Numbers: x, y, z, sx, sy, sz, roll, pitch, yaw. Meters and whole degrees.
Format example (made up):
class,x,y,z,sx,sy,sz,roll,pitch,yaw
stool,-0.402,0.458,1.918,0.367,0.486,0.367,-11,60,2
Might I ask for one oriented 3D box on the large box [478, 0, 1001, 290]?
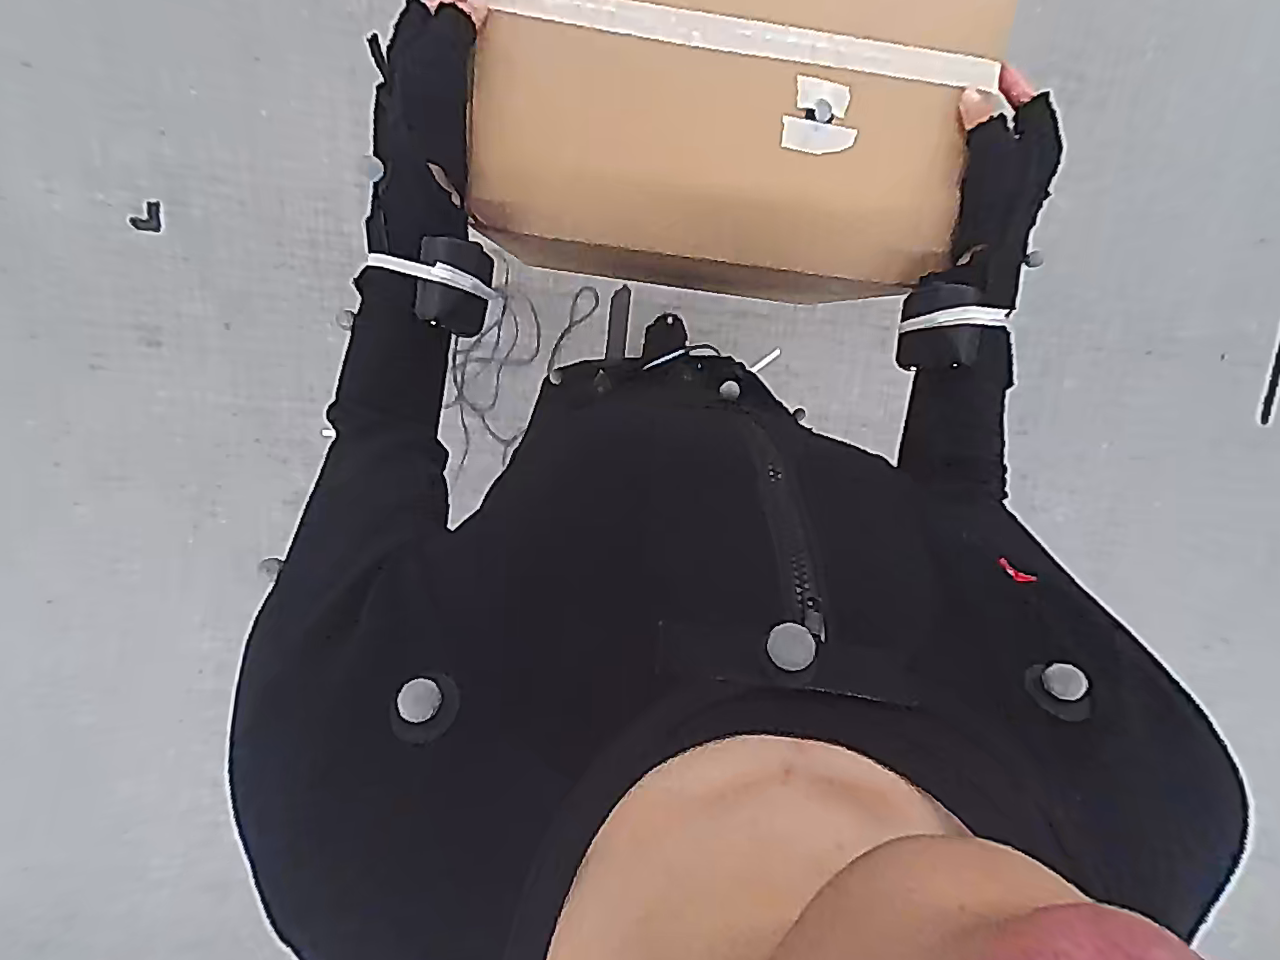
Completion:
class,x,y,z,sx,sy,sz,roll,pitch,yaw
large box,0.068,-0.387,0.561,0.408,0.320,0.320,6,107,-5
